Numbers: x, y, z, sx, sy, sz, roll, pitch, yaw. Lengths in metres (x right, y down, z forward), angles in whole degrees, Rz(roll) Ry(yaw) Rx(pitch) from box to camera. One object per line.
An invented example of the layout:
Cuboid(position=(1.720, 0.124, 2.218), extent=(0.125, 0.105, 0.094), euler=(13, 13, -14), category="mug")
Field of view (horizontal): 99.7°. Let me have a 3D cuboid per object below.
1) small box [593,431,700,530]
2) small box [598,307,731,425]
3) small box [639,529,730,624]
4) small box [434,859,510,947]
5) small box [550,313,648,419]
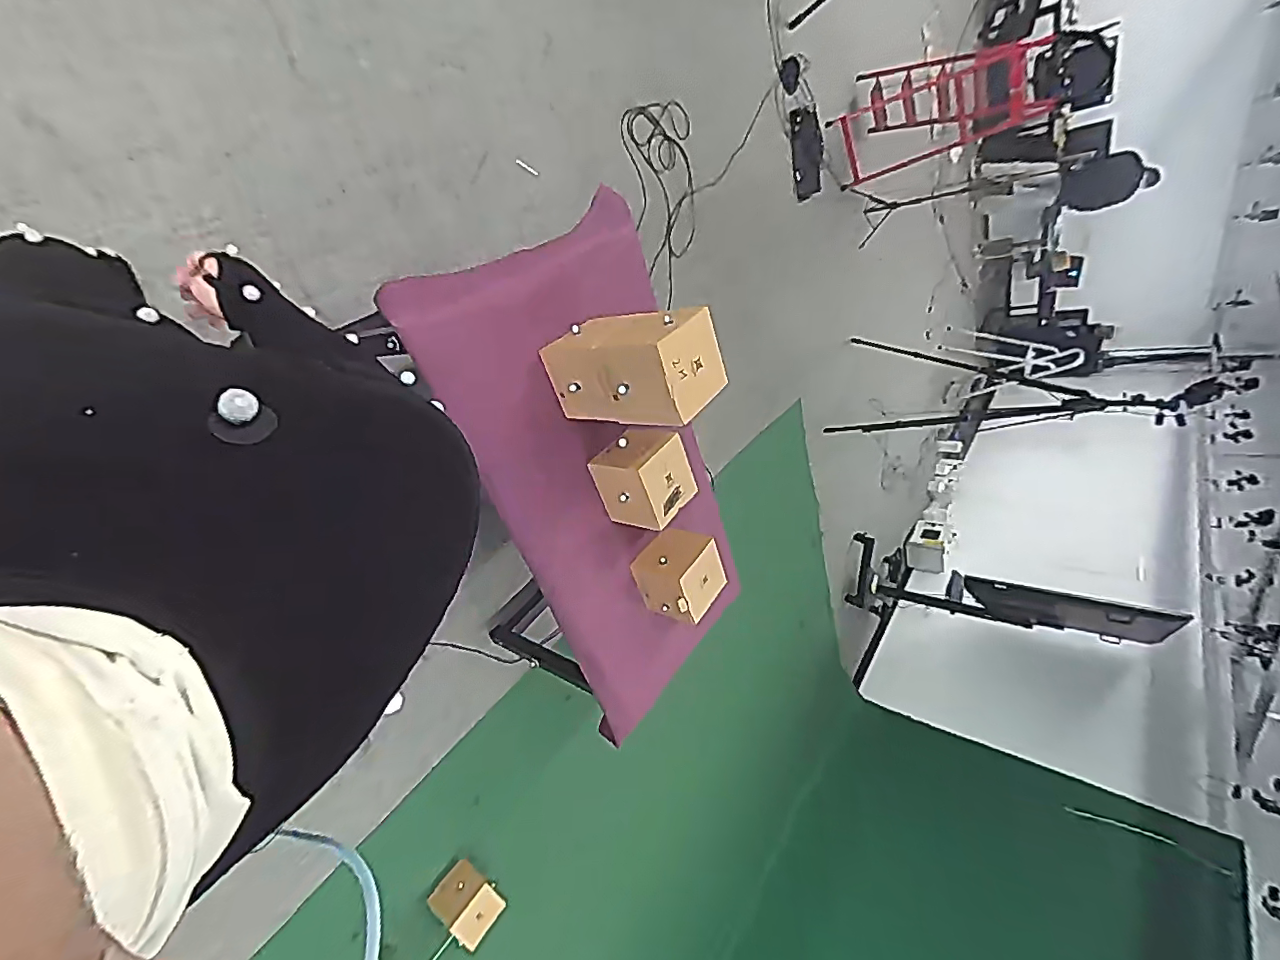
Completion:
Cuboid(position=(0.016, -0.007, 1.314), extent=(0.168, 0.176, 0.179), euler=(-44, 126, -35), category="small box")
Cuboid(position=(0.050, -0.225, 1.065), extent=(0.179, 0.176, 0.168), euler=(-44, 126, -34), category="small box")
Cuboid(position=(0.115, 0.255, 1.471), extent=(0.179, 0.176, 0.168), euler=(-43, 126, -36), category="small box")
Cuboid(position=(-0.612, 1.520, 1.956), extent=(0.168, 0.176, 0.179), euler=(-43, 127, -36), category="small box")
Cuboid(position=(-0.072, -0.247, 1.174), extent=(0.179, 0.176, 0.168), euler=(-44, 127, -34), category="small box")
